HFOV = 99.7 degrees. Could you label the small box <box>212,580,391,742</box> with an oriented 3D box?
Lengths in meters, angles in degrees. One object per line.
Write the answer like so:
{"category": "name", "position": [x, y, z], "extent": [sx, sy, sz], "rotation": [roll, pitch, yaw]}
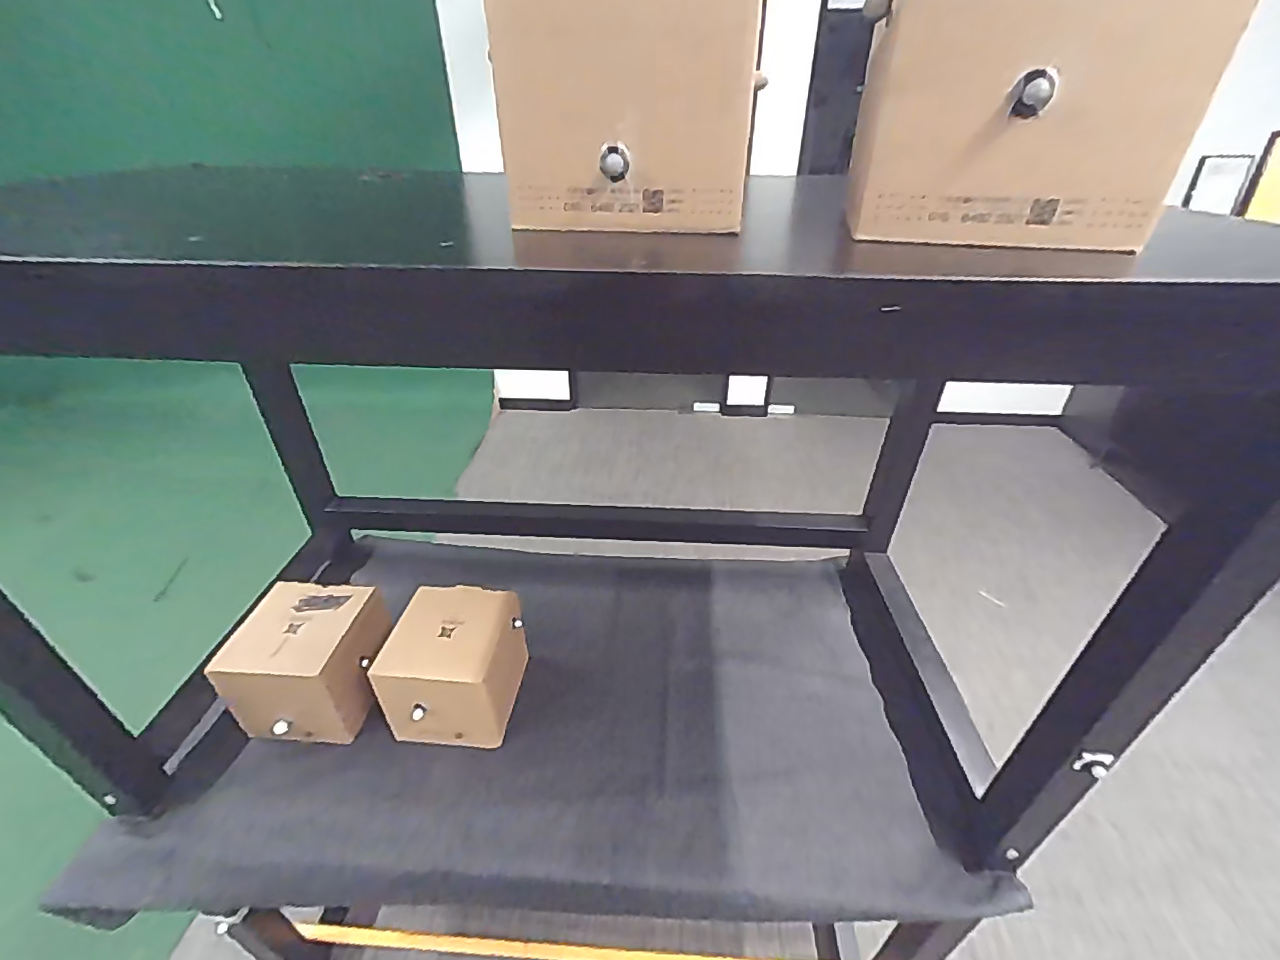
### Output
{"category": "small box", "position": [-0.517, 0.285, 0.865], "extent": [0.168, 0.176, 0.179], "rotation": [2, 34, 2]}

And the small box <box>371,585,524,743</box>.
{"category": "small box", "position": [-0.290, 0.293, 0.863], "extent": [0.168, 0.176, 0.179], "rotation": [3, 33, 3]}

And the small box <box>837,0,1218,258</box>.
{"category": "small box", "position": [0.241, -0.261, 0.379], "extent": [0.168, 0.176, 0.179], "rotation": [9, 34, 12]}
